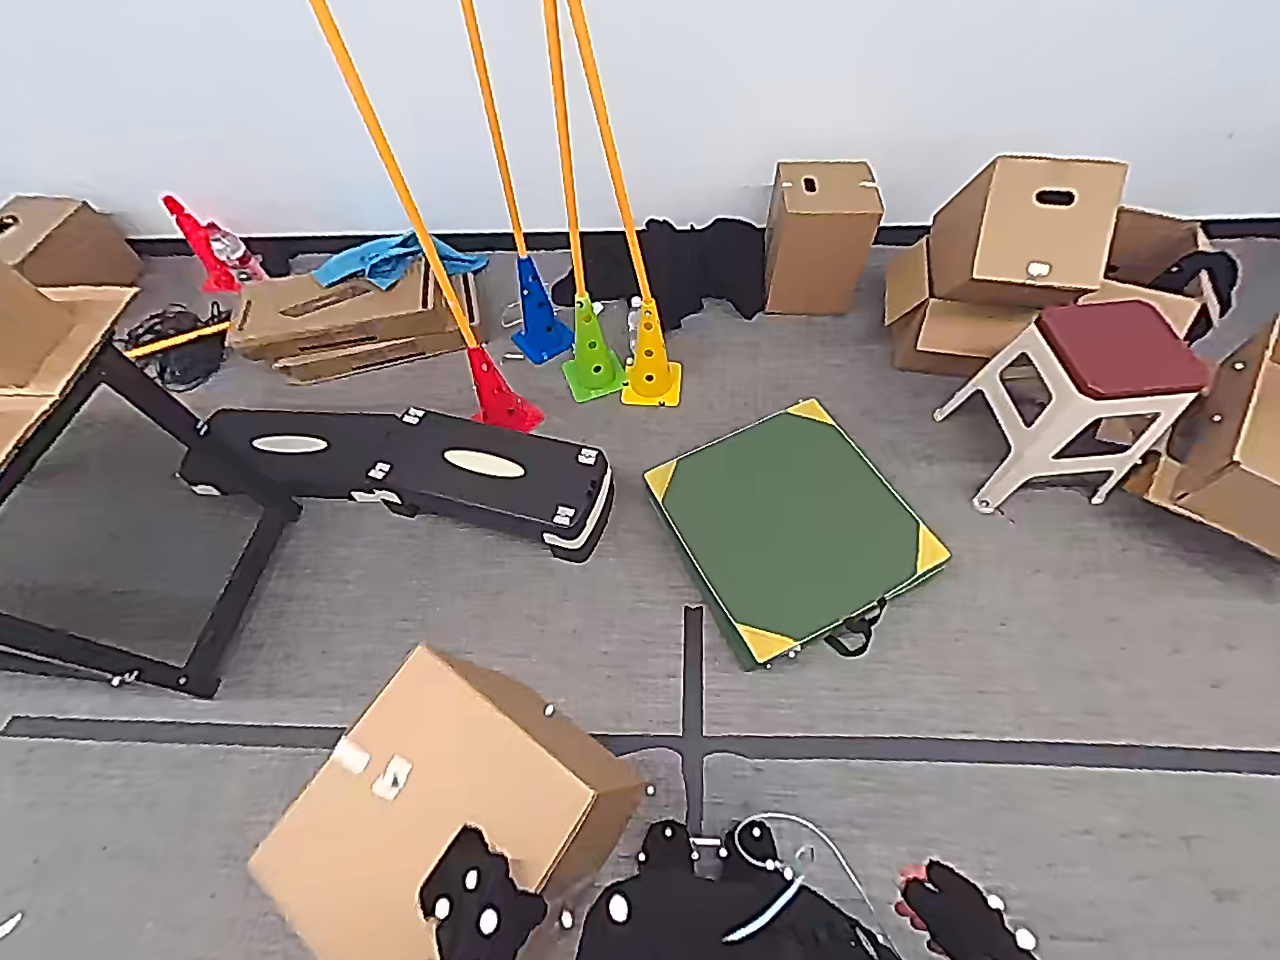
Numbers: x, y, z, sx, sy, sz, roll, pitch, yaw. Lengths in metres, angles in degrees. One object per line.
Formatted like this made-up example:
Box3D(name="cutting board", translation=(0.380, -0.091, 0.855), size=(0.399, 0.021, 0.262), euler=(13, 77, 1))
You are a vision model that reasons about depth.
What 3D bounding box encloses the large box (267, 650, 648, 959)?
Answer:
Box3D(name="large box", translation=(-0.226, 0.496, 0.817), size=(0.320, 0.408, 0.320), euler=(32, 74, 23))
